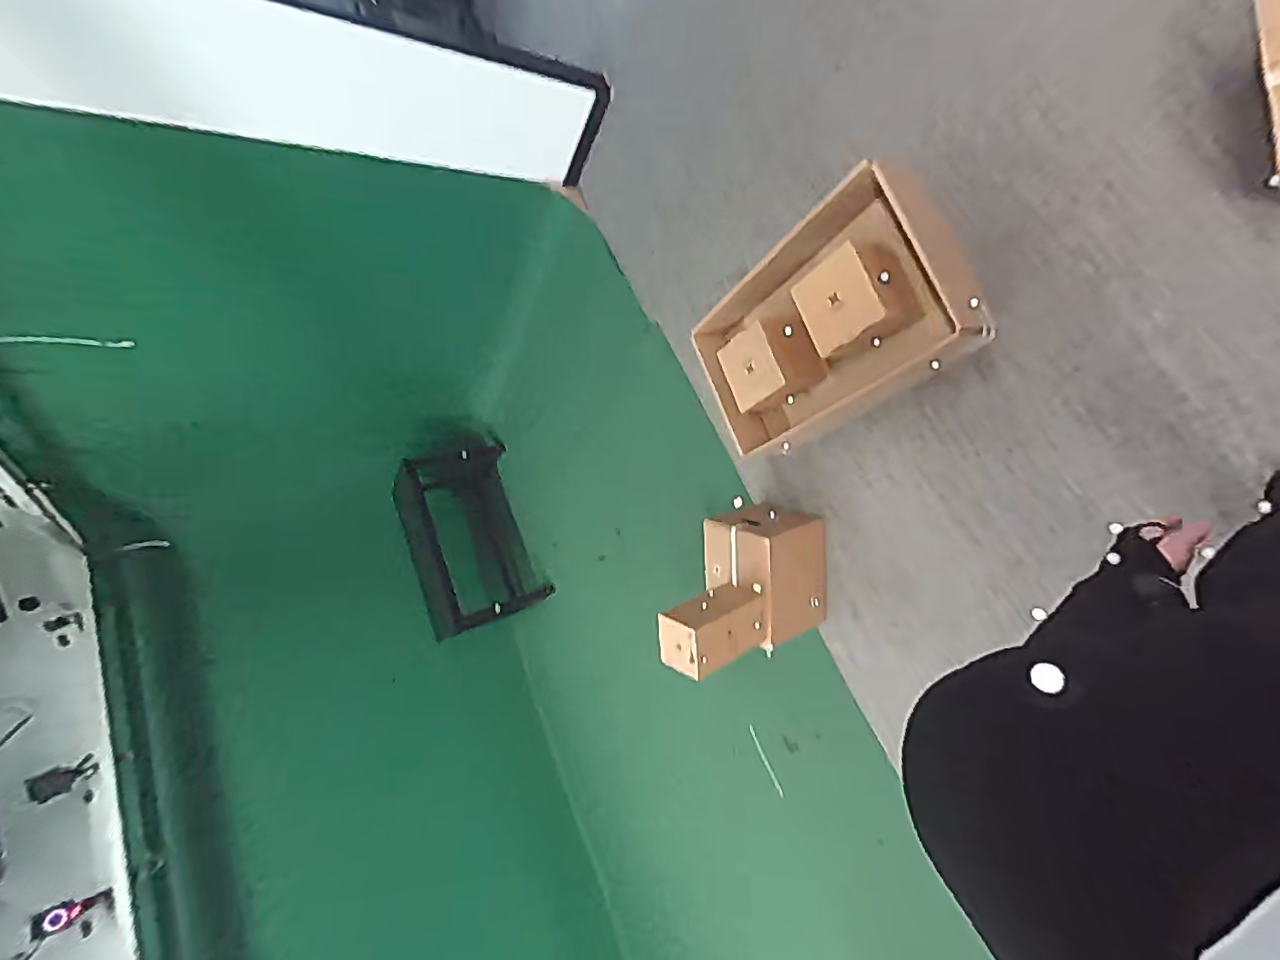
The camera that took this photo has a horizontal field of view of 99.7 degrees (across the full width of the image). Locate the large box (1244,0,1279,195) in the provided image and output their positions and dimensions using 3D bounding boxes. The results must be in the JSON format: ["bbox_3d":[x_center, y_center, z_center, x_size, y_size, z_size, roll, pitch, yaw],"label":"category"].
[{"bbox_3d":[1.175,-0.635,0.745,0.408,0.320,0.320,-8,94,55],"label":"large box"}]

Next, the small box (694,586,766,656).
[{"bbox_3d":[0.304,0.472,1.828,0.179,0.176,0.168,10,108,50],"label":"small box"}]

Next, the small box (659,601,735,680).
[{"bbox_3d":[0.182,0.502,1.722,0.179,0.176,0.168,10,108,51],"label":"small box"}]

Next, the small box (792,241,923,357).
[{"bbox_3d":[0.469,-0.385,1.169,0.168,0.176,0.179,-34,75,52],"label":"small box"}]
